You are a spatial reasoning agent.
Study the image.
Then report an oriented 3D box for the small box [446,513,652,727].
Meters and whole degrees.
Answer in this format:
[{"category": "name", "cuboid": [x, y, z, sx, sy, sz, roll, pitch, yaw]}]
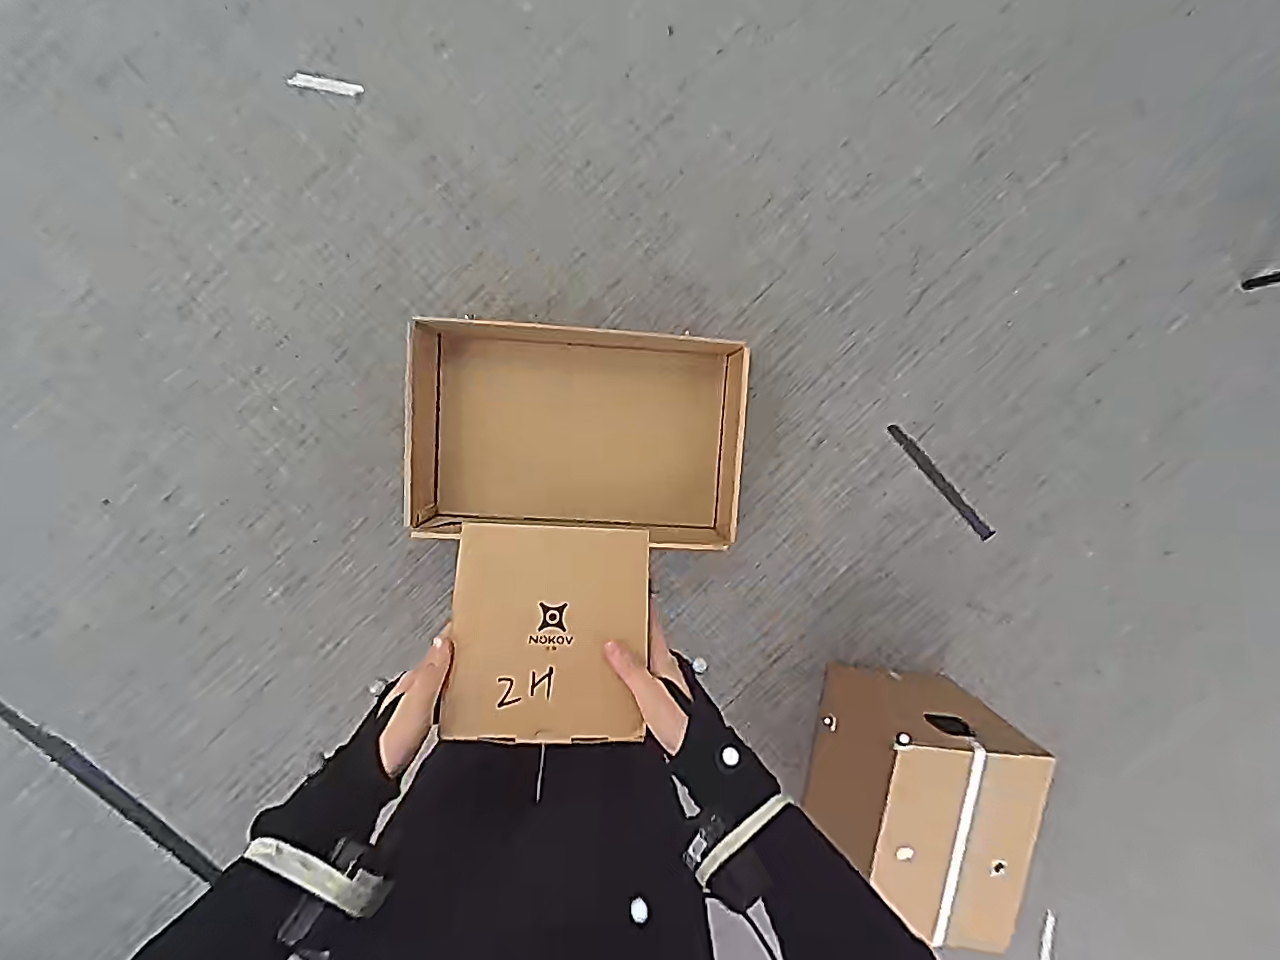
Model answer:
[{"category": "small box", "cuboid": [-0.082, 0.141, 0.538, 0.168, 0.176, 0.179, 3, 73, -6]}]
